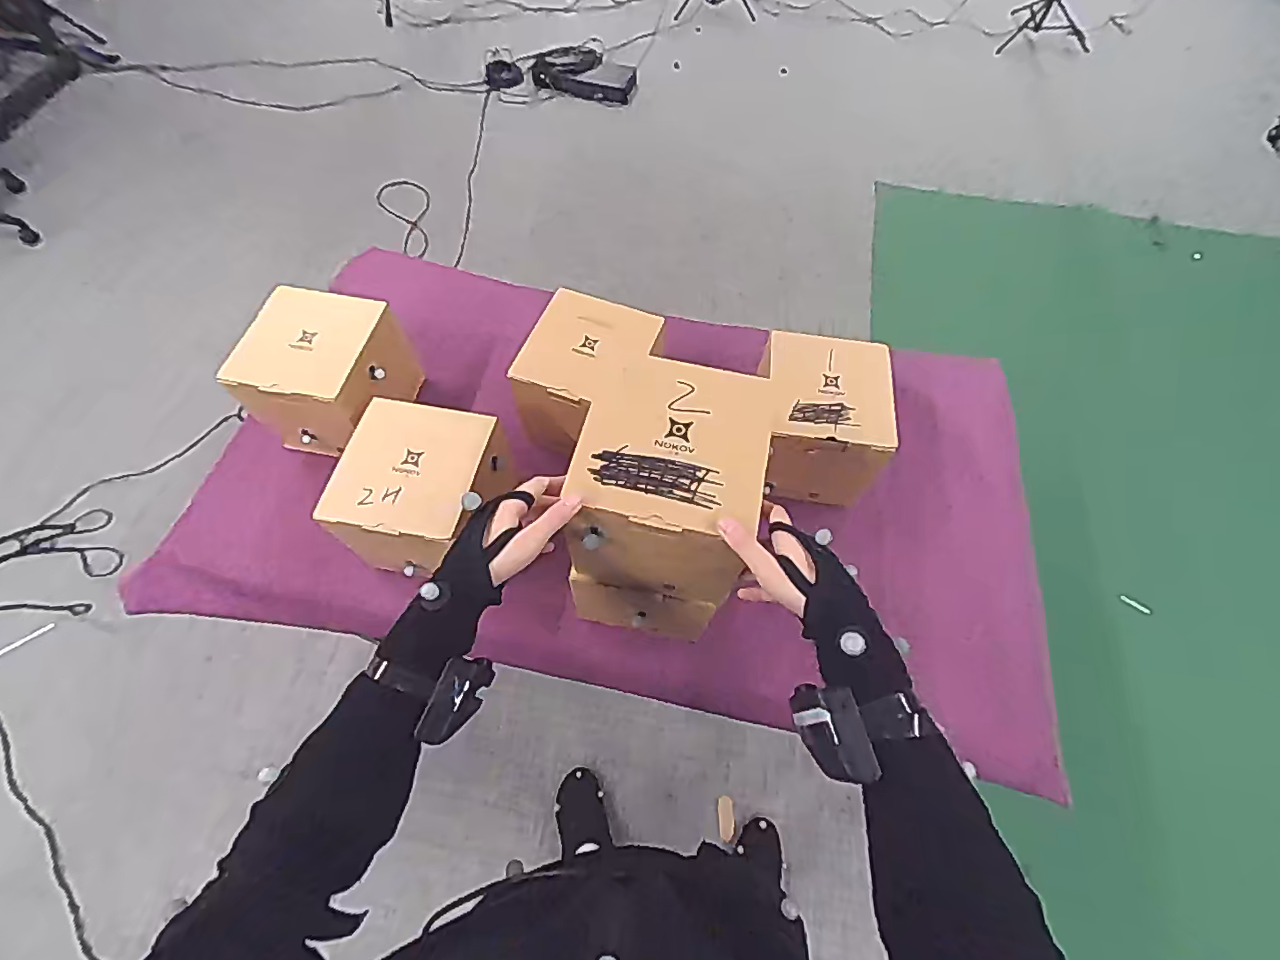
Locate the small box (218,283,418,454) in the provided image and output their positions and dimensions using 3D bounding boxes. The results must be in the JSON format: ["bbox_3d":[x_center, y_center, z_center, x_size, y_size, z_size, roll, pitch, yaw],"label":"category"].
[{"bbox_3d":[-0.451,-0.154,0.798,0.168,0.176,0.179,10,63,3],"label":"small box"}]

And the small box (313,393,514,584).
[{"bbox_3d":[-0.275,0.016,0.709,0.168,0.176,0.179,10,62,5],"label":"small box"}]

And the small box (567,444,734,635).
[{"bbox_3d":[0.016,0.083,0.684,0.168,0.176,0.179,11,62,4],"label":"small box"}]

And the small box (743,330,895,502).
[{"bbox_3d":[0.247,-0.085,0.780,0.168,0.176,0.179,9,61,3],"label":"small box"}]
